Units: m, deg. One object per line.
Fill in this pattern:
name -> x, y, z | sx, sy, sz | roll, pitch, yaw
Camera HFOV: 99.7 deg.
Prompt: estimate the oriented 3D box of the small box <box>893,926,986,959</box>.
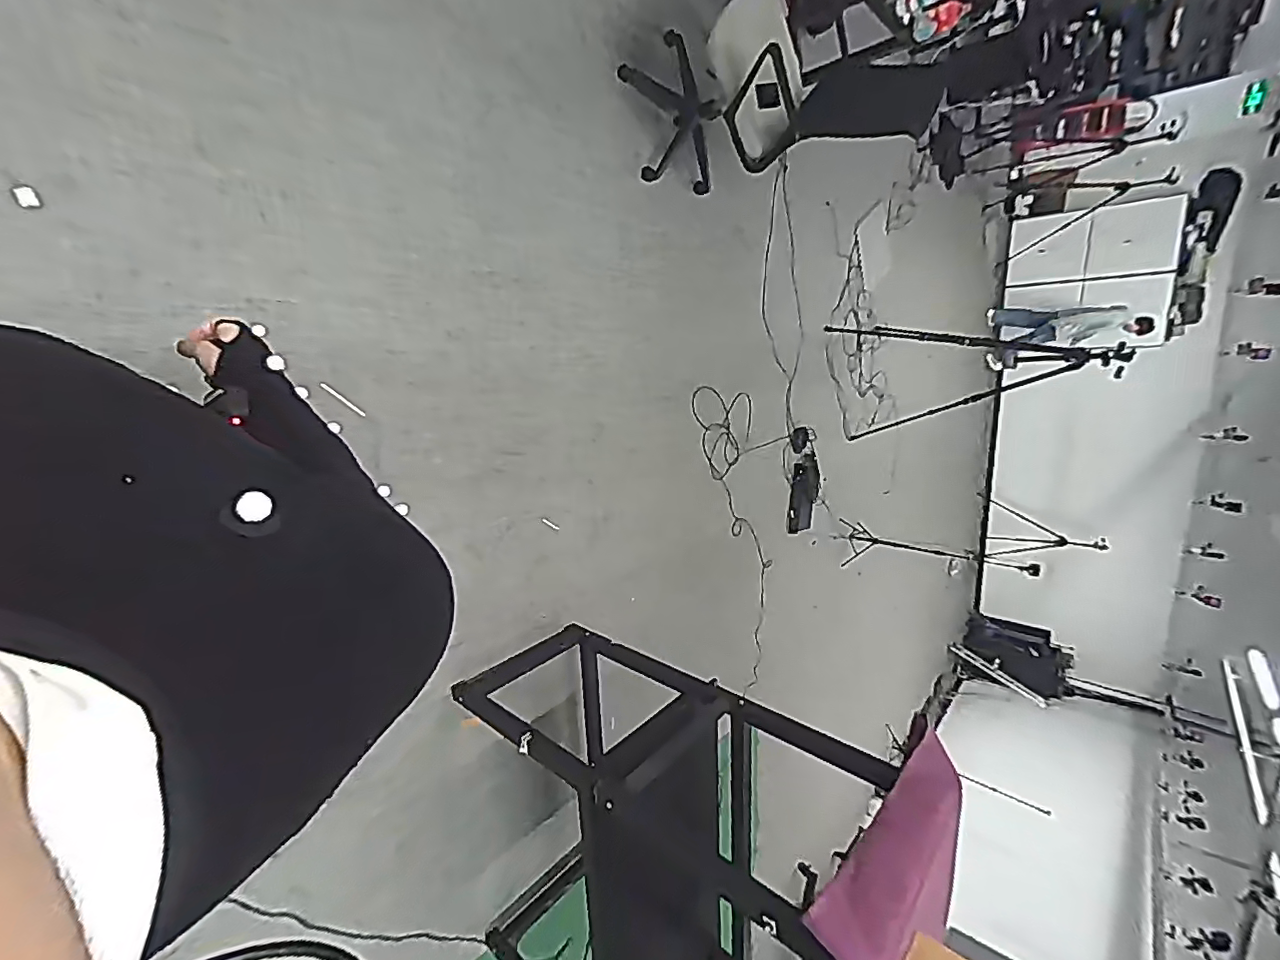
small box -> 0.588, 1.037, 1.063 | 0.168, 0.176, 0.179 | -13, 107, -47
